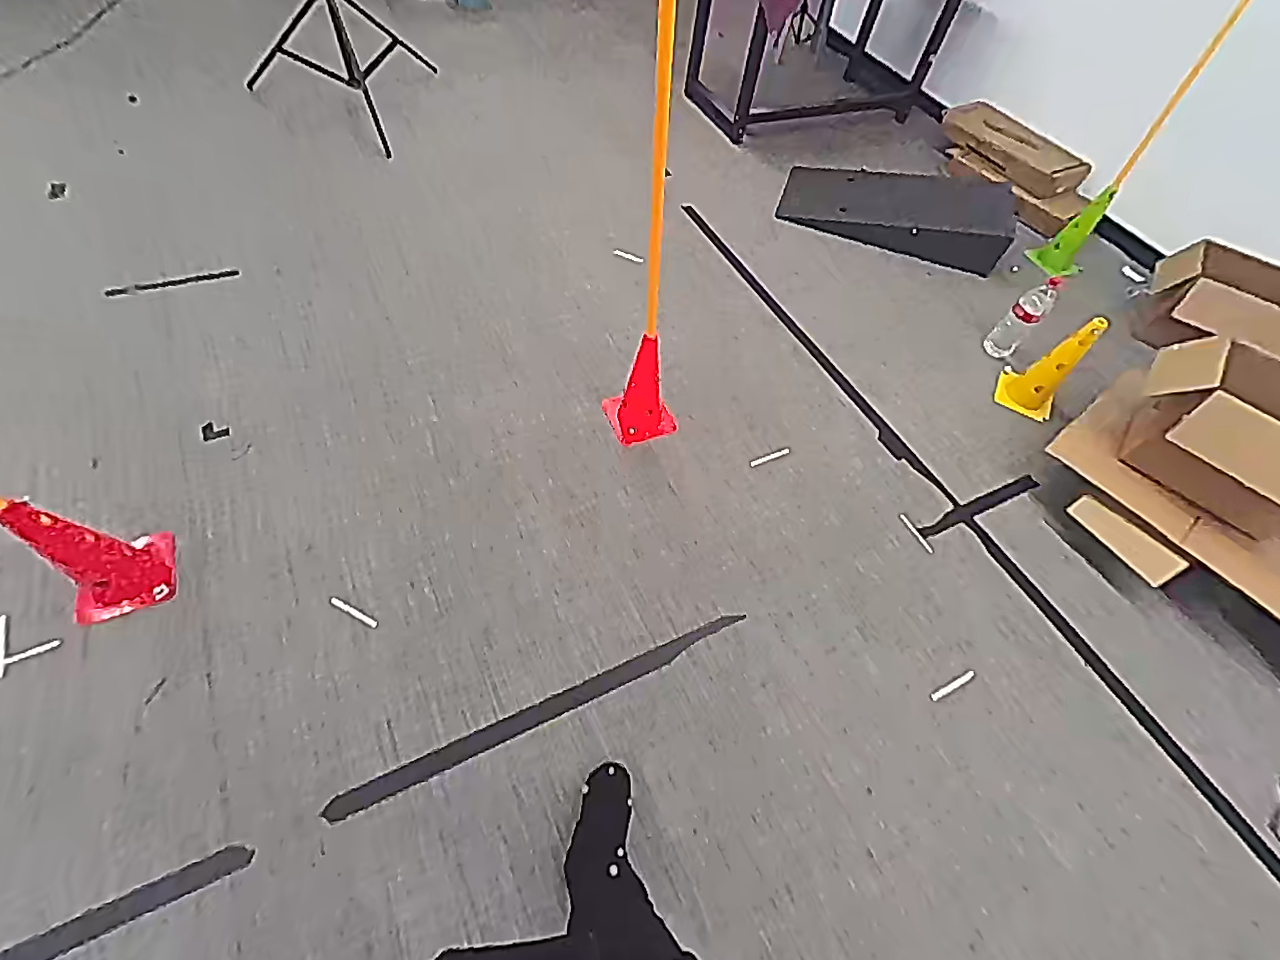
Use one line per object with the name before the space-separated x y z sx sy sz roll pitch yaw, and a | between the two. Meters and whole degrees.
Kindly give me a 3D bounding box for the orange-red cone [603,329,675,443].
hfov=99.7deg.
orange-red cone | 0.012 -0.306 1.618 0.199 0.360 0.198 -17 61 -17
